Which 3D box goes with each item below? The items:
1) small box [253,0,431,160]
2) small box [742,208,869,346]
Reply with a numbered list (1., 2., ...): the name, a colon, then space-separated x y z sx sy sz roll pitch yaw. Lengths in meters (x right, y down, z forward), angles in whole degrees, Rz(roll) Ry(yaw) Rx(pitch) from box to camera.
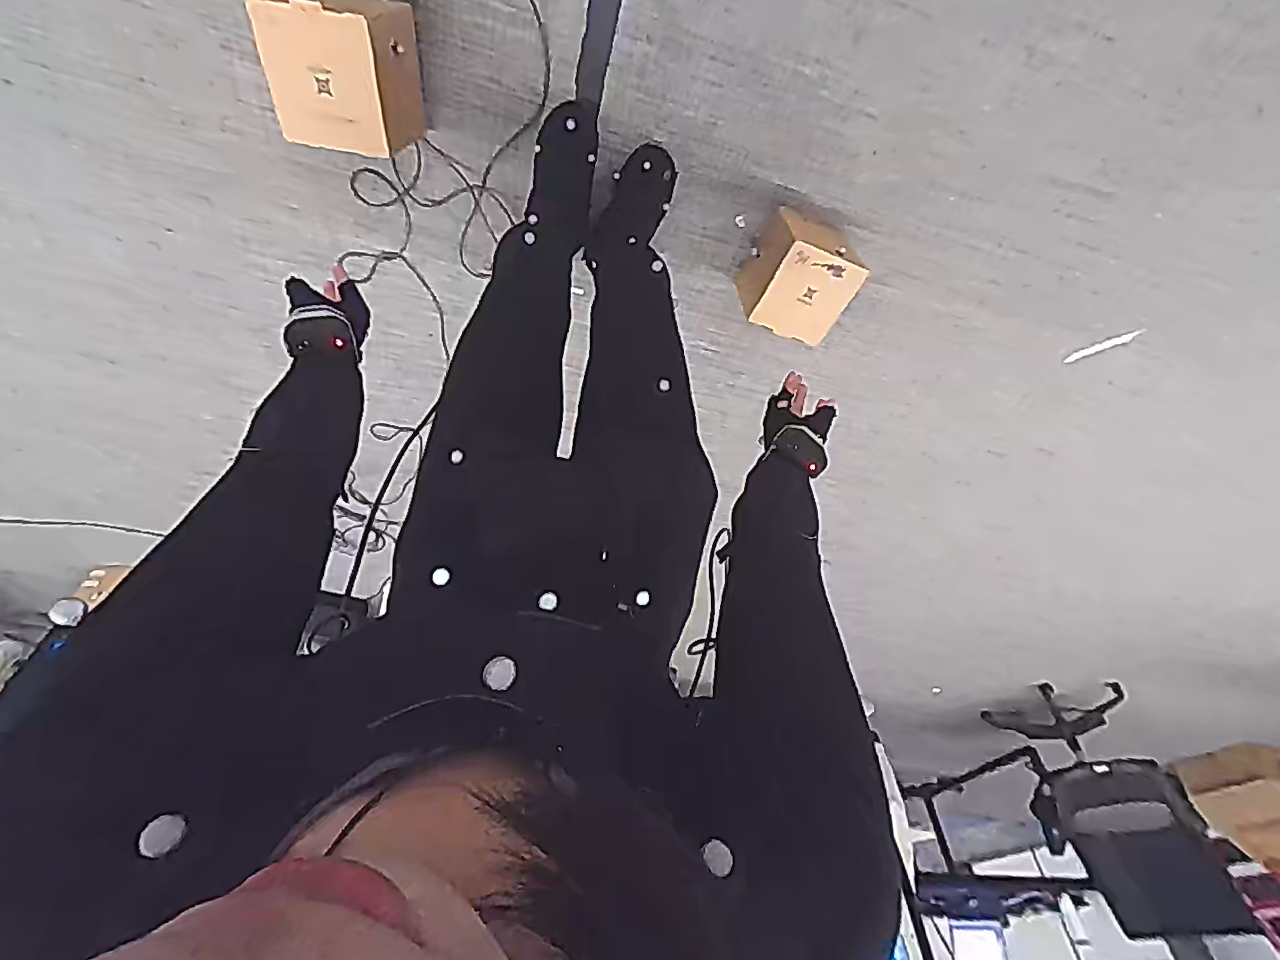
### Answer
1. small box: -0.445 -0.630 0.843 0.168 0.176 0.179 7 136 -1
2. small box: 0.320 -0.408 1.089 0.168 0.176 0.179 15 134 -16
